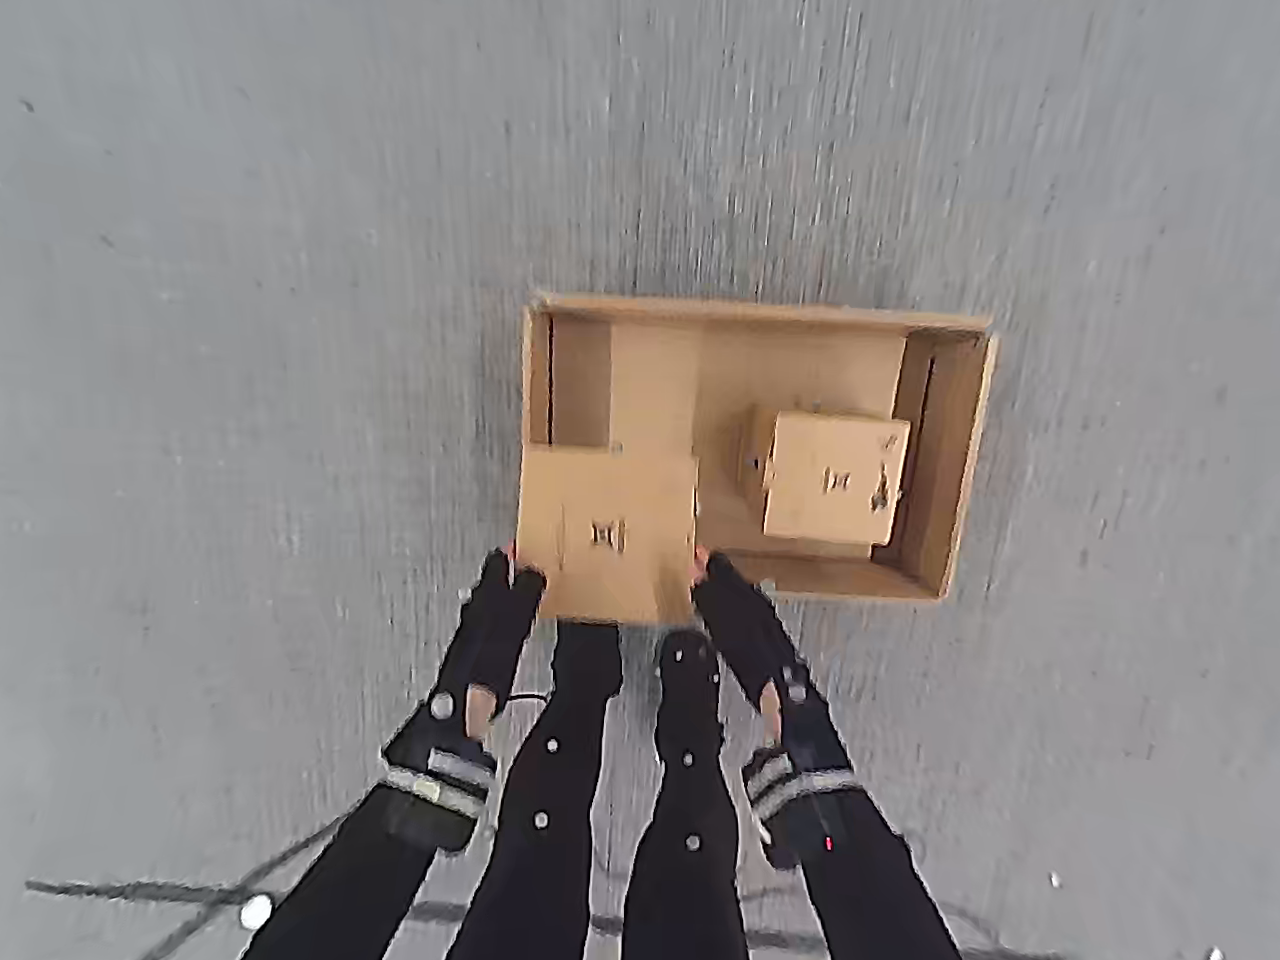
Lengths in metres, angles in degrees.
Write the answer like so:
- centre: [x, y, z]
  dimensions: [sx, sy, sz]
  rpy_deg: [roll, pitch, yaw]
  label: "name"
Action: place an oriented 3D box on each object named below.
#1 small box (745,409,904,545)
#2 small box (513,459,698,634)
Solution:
- centre: [0.258, -0.014, 0.802]
  dimensions: [0.179, 0.176, 0.168]
  rpy_deg: [4, 103, 2]
  label: "small box"
- centre: [-0.033, 0.072, 0.602]
  dimensions: [0.179, 0.176, 0.168]
  rpy_deg: [1, 82, -1]
  label: "small box"
